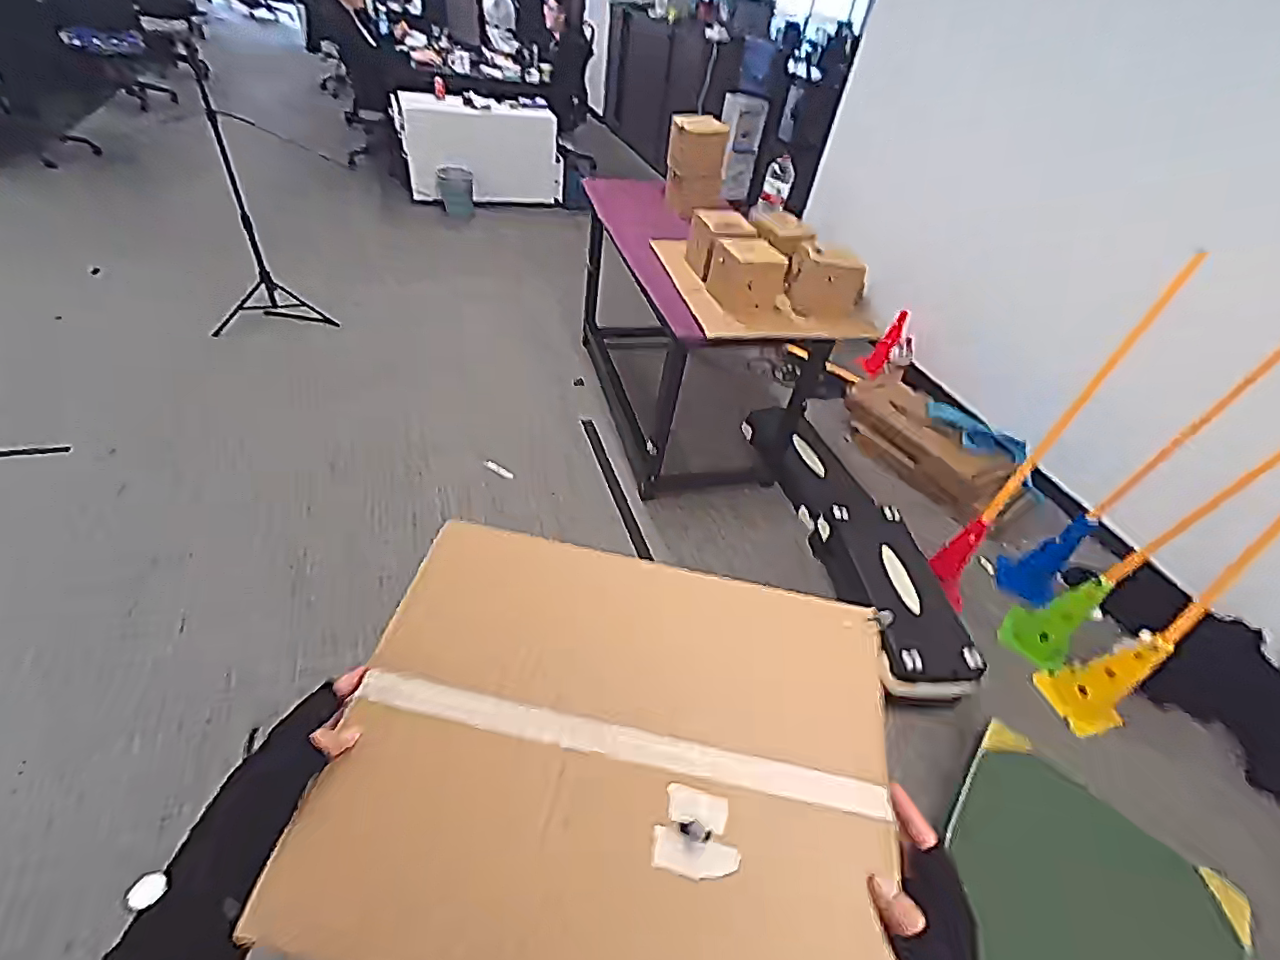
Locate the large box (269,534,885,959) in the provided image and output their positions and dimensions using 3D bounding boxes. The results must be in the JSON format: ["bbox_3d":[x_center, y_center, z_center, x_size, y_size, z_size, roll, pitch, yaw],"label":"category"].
[{"bbox_3d":[-0.029,0.294,0.539,0.408,0.320,0.320,11,52,4],"label":"large box"}]
